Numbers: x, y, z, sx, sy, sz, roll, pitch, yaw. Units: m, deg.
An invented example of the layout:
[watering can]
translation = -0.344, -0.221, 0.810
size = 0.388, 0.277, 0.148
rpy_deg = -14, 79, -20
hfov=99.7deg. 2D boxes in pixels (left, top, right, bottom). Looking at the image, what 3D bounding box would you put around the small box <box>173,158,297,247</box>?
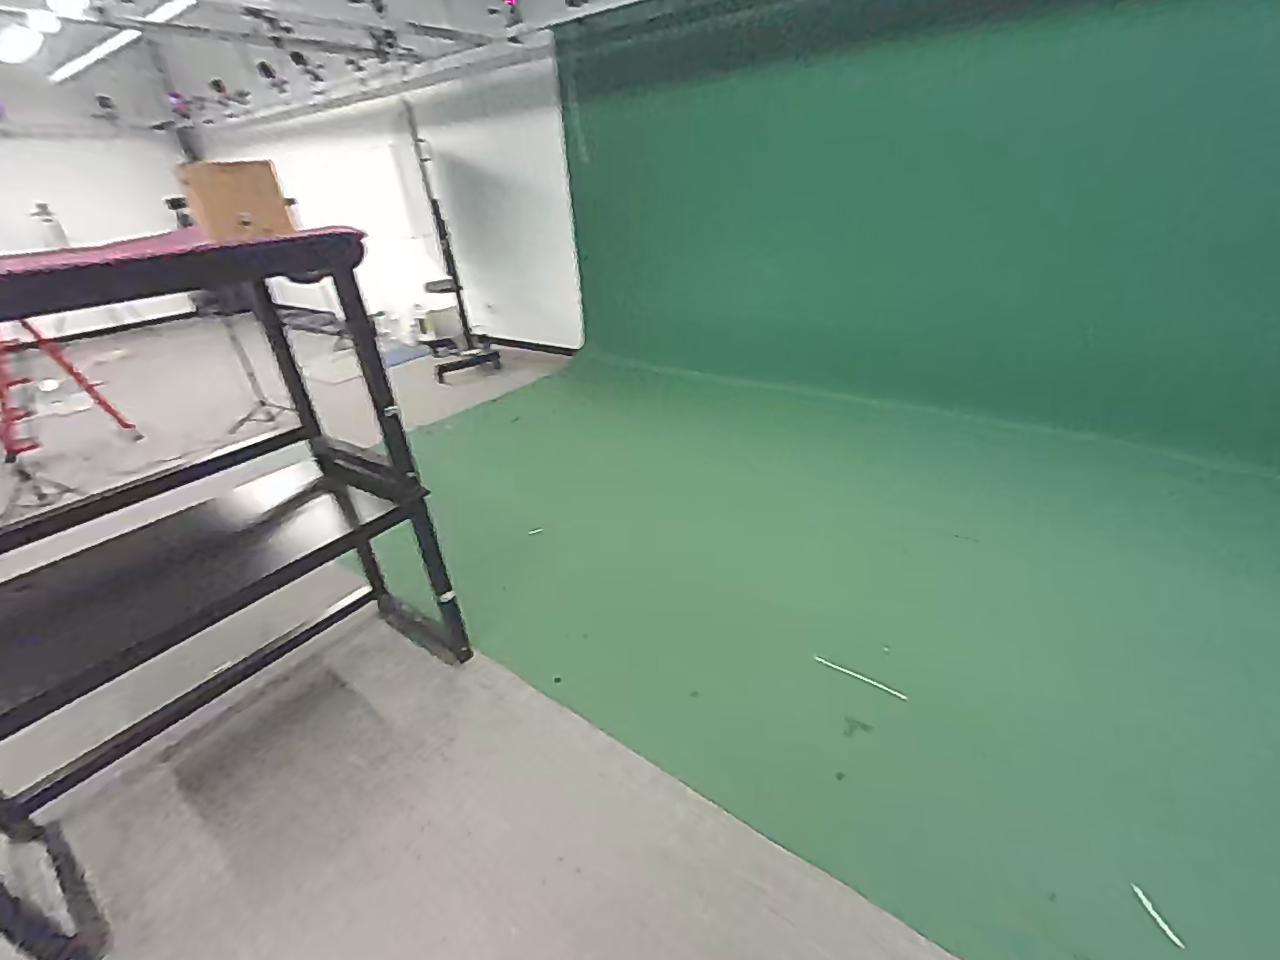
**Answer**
[small box]
translation = -0.920, -0.633, 1.235
size = 0.168, 0.176, 0.179
rpy_deg = -28, 39, -35
